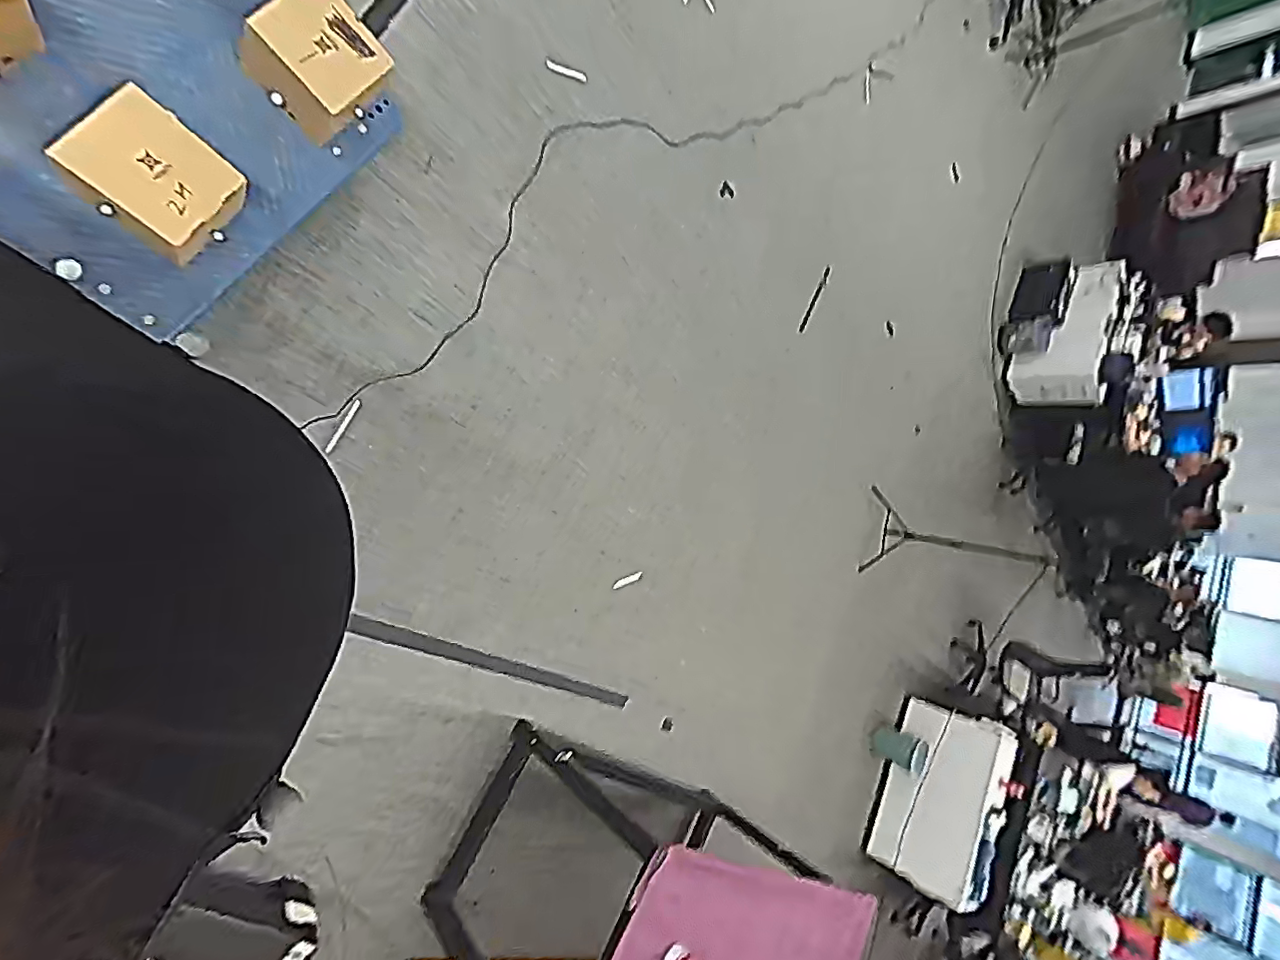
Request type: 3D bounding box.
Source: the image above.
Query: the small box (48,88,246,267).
[{"bbox_3d":[-0.807,-0.488,0.903,0.179,0.176,0.168,42,69,-35],"label":"small box"}]

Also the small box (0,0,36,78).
[{"bbox_3d":[-0.993,-0.665,0.727,0.179,0.176,0.168,48,65,-35],"label":"small box"}]

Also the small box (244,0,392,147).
[{"bbox_3d":[-0.615,-0.782,1.027,0.168,0.176,0.179,45,68,-34],"label":"small box"}]
